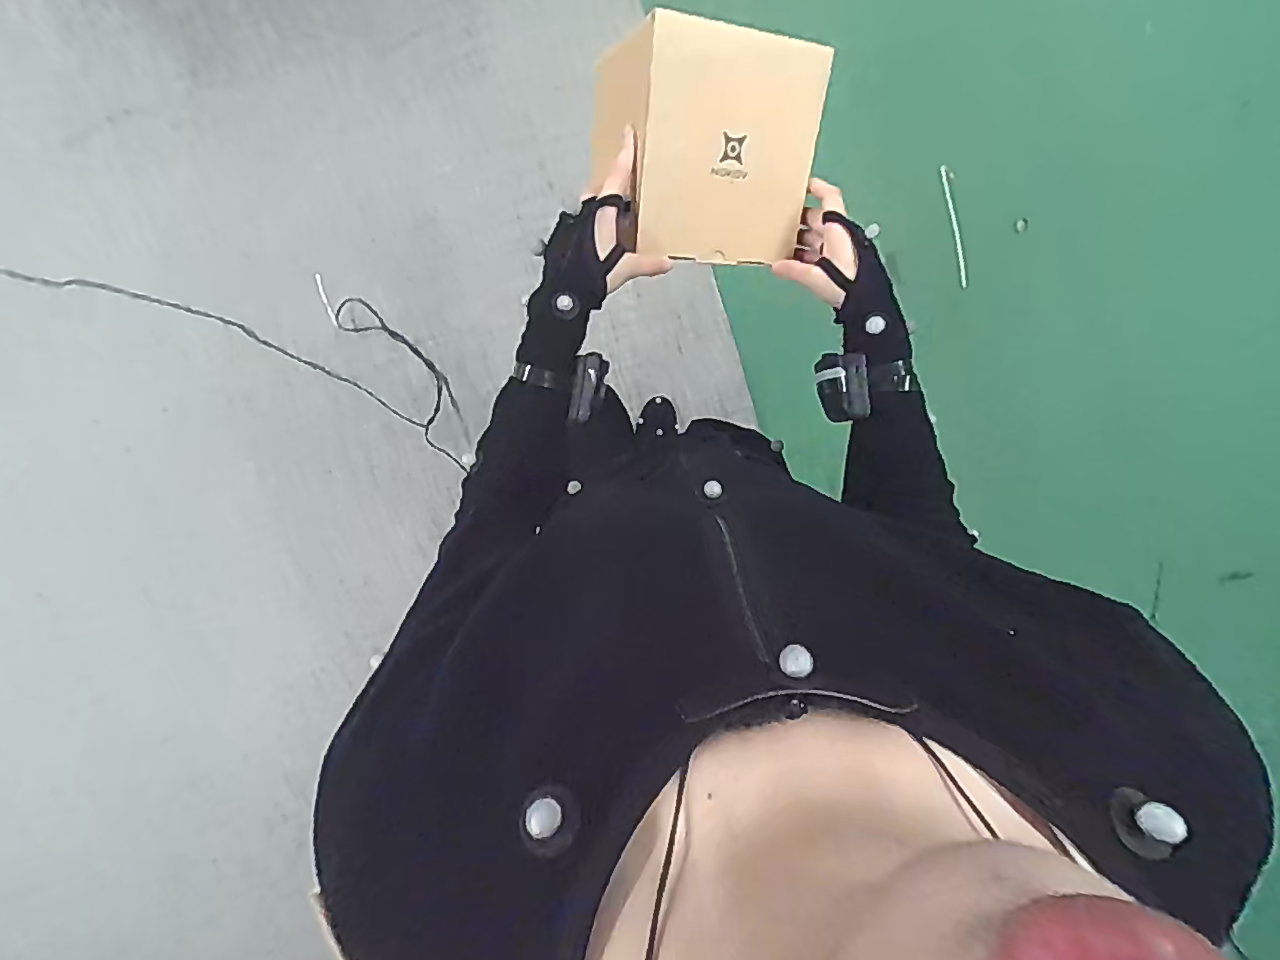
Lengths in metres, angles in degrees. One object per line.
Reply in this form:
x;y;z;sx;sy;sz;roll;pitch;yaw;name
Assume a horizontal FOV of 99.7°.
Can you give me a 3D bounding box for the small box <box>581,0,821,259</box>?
0.042;-0.319;0.526;0.168;0.176;0.179;-5;118;-19;small box
